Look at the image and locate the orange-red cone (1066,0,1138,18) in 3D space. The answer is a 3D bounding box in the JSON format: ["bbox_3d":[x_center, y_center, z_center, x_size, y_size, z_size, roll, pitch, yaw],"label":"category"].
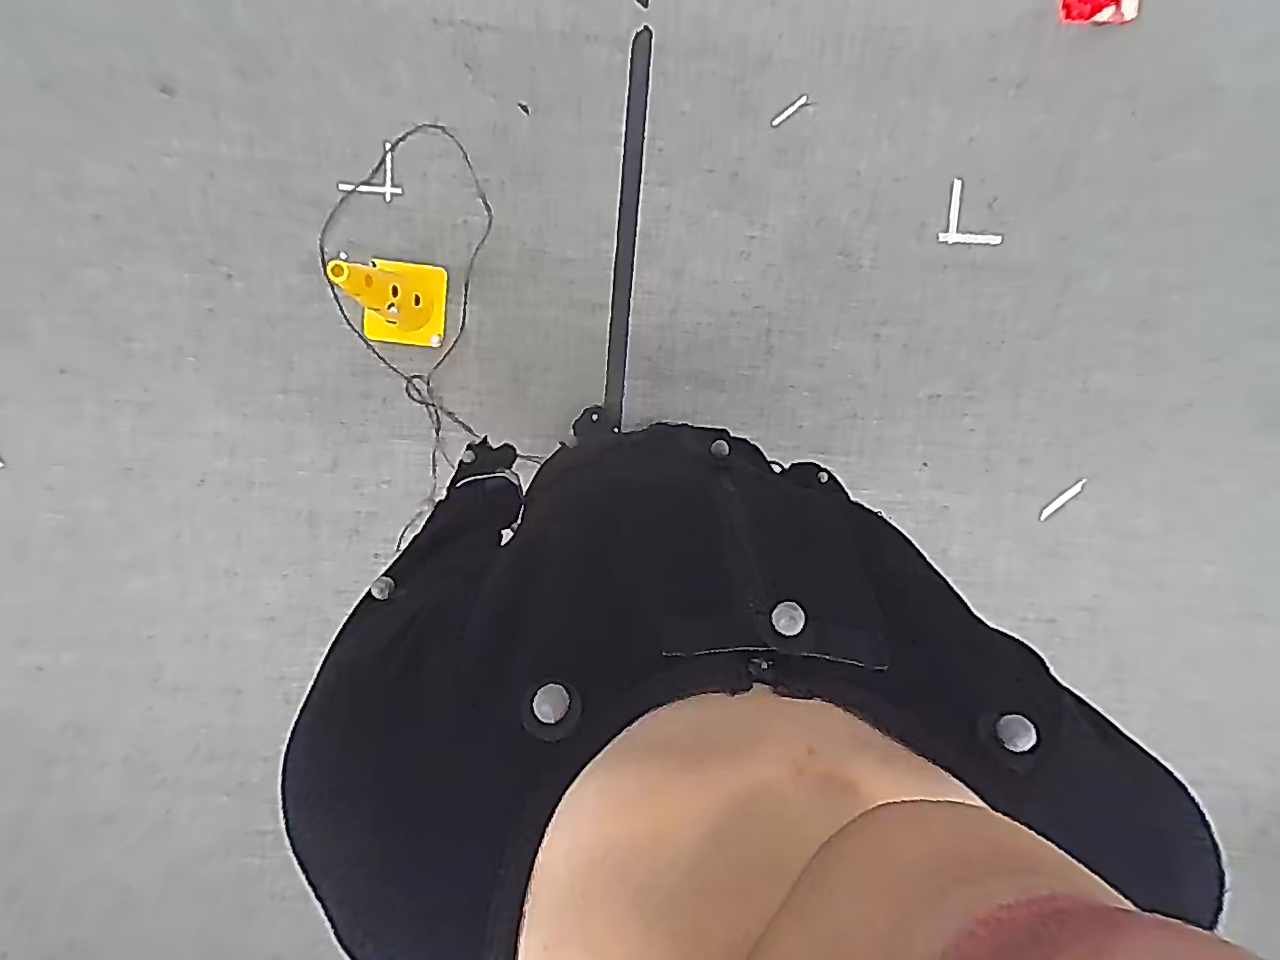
[{"bbox_3d":[1.172,-1.247,1.180,0.198,0.360,0.199,-1,97,-4],"label":"orange-red cone"}]
